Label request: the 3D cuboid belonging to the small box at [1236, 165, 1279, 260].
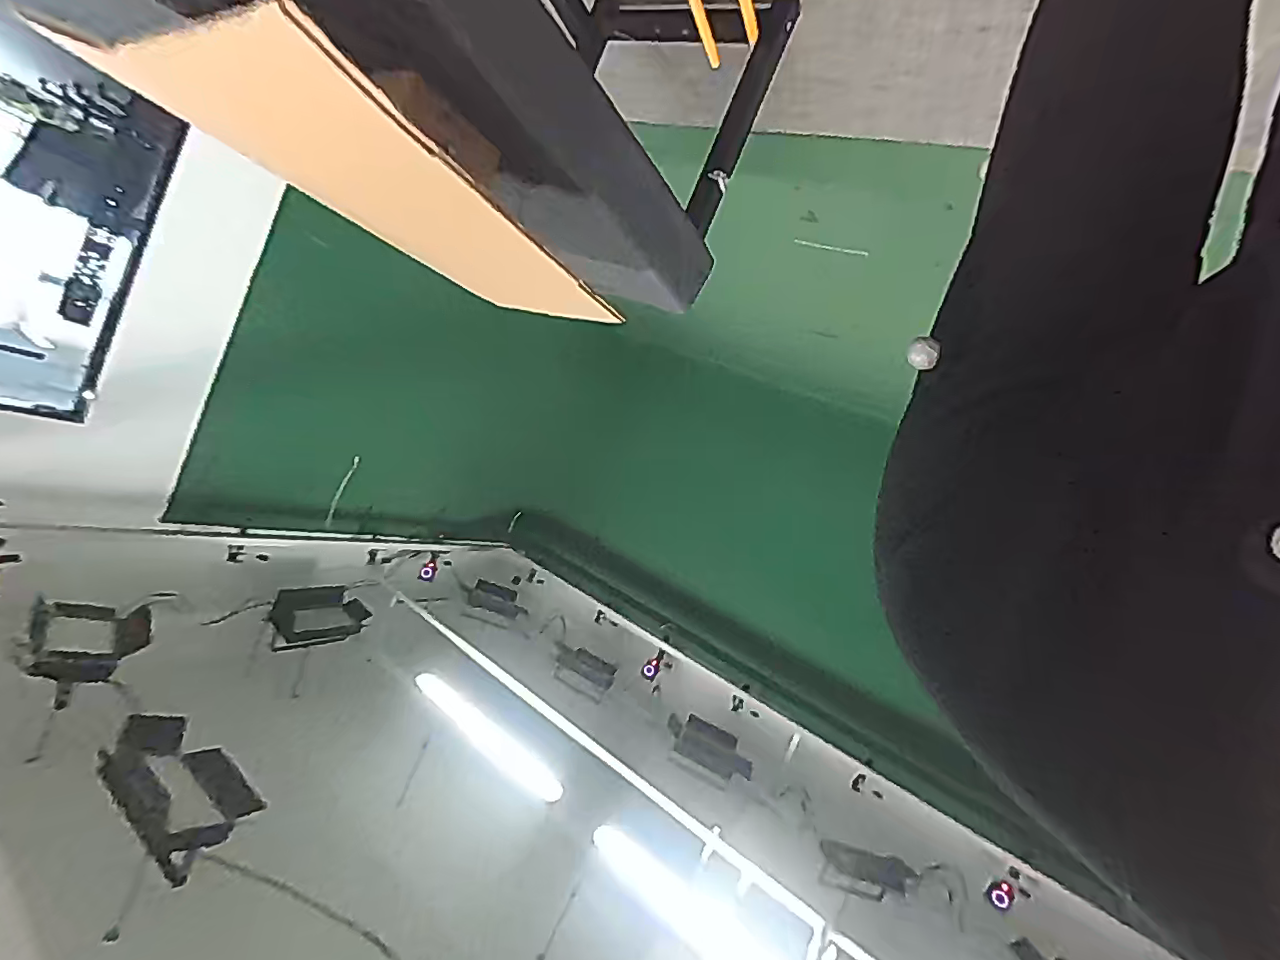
[{"bbox_3d":[1.127,-0.463,0.854,0.168,0.176,0.179,23,-179,28],"label":"small box"}]
